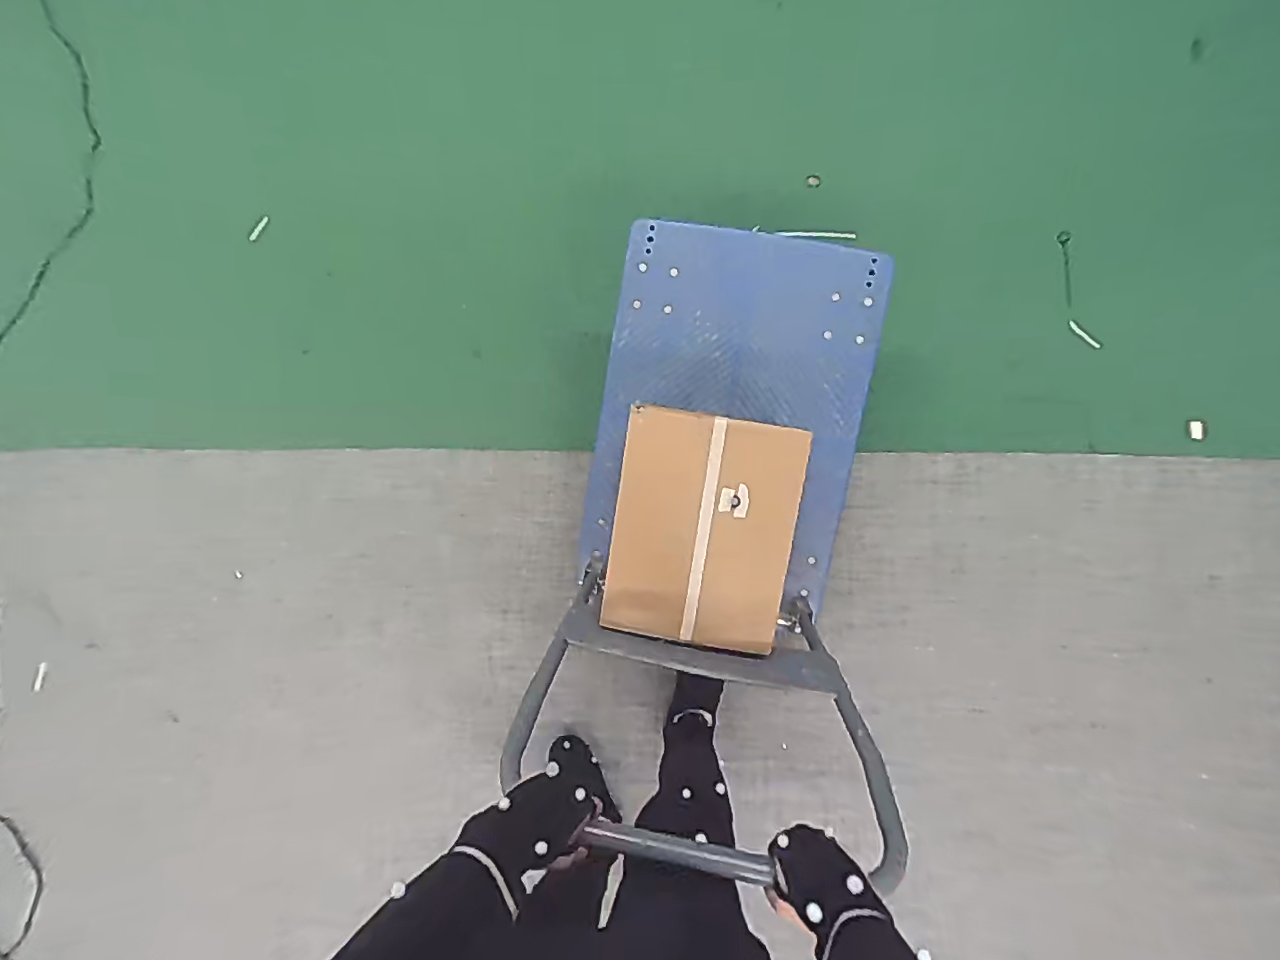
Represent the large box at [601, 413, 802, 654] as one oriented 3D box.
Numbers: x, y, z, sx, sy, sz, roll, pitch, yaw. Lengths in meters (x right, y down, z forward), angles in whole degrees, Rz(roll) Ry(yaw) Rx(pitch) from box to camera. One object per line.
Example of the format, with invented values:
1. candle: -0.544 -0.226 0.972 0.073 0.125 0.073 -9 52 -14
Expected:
1. large box: 0.120 0.087 1.116 0.320 0.320 0.408 9 96 4
